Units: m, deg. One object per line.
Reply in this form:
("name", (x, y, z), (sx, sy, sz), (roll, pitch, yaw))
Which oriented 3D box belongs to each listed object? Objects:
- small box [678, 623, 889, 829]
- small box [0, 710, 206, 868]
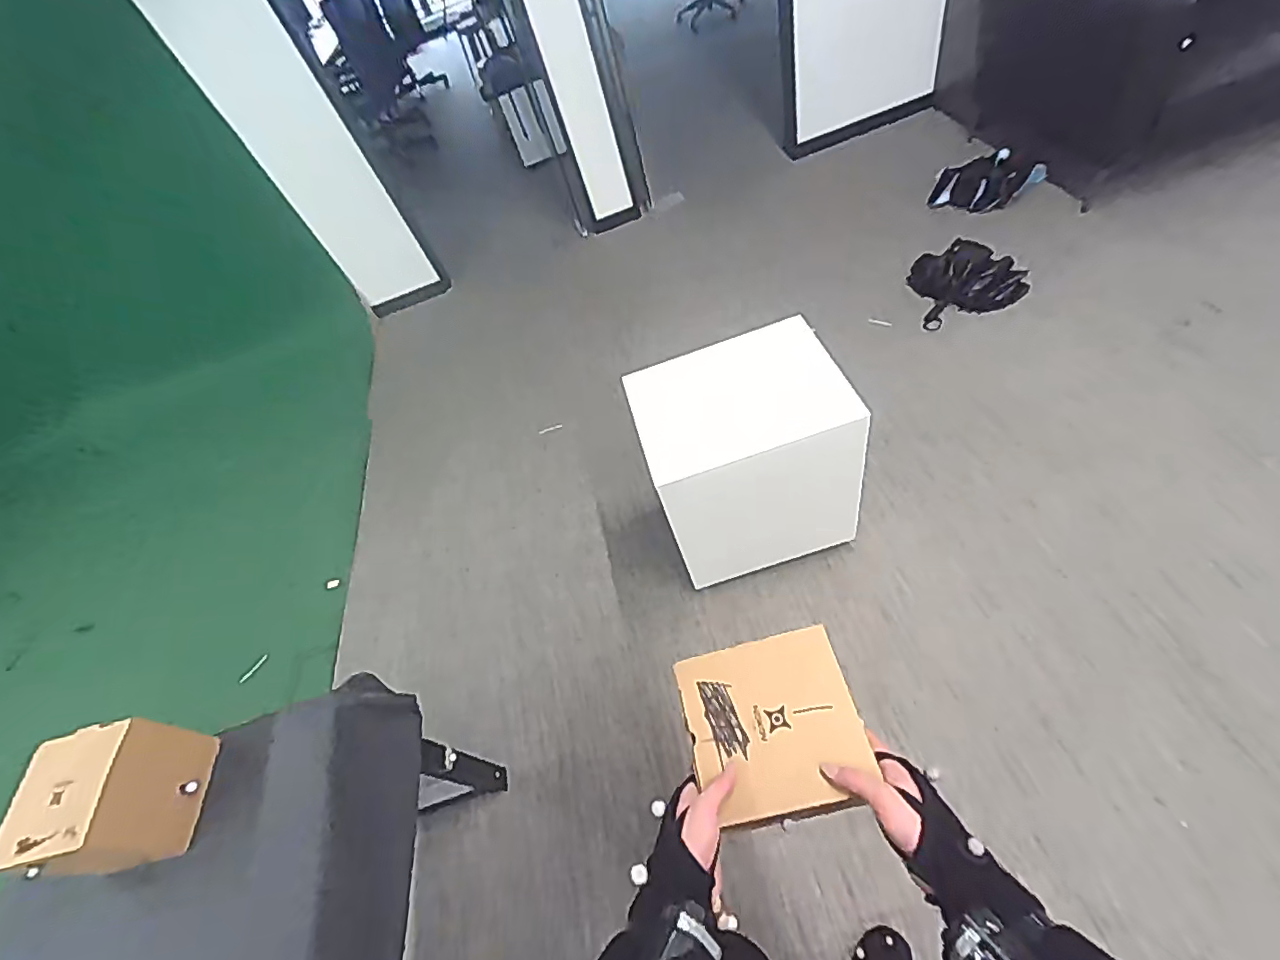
("small box", (0.156, 0.286, 0.616), (0.179, 0.176, 0.168), (-16, 54, 5))
("small box", (-0.834, 0.484, 0.843), (0.168, 0.176, 0.179), (-16, 52, 5))
